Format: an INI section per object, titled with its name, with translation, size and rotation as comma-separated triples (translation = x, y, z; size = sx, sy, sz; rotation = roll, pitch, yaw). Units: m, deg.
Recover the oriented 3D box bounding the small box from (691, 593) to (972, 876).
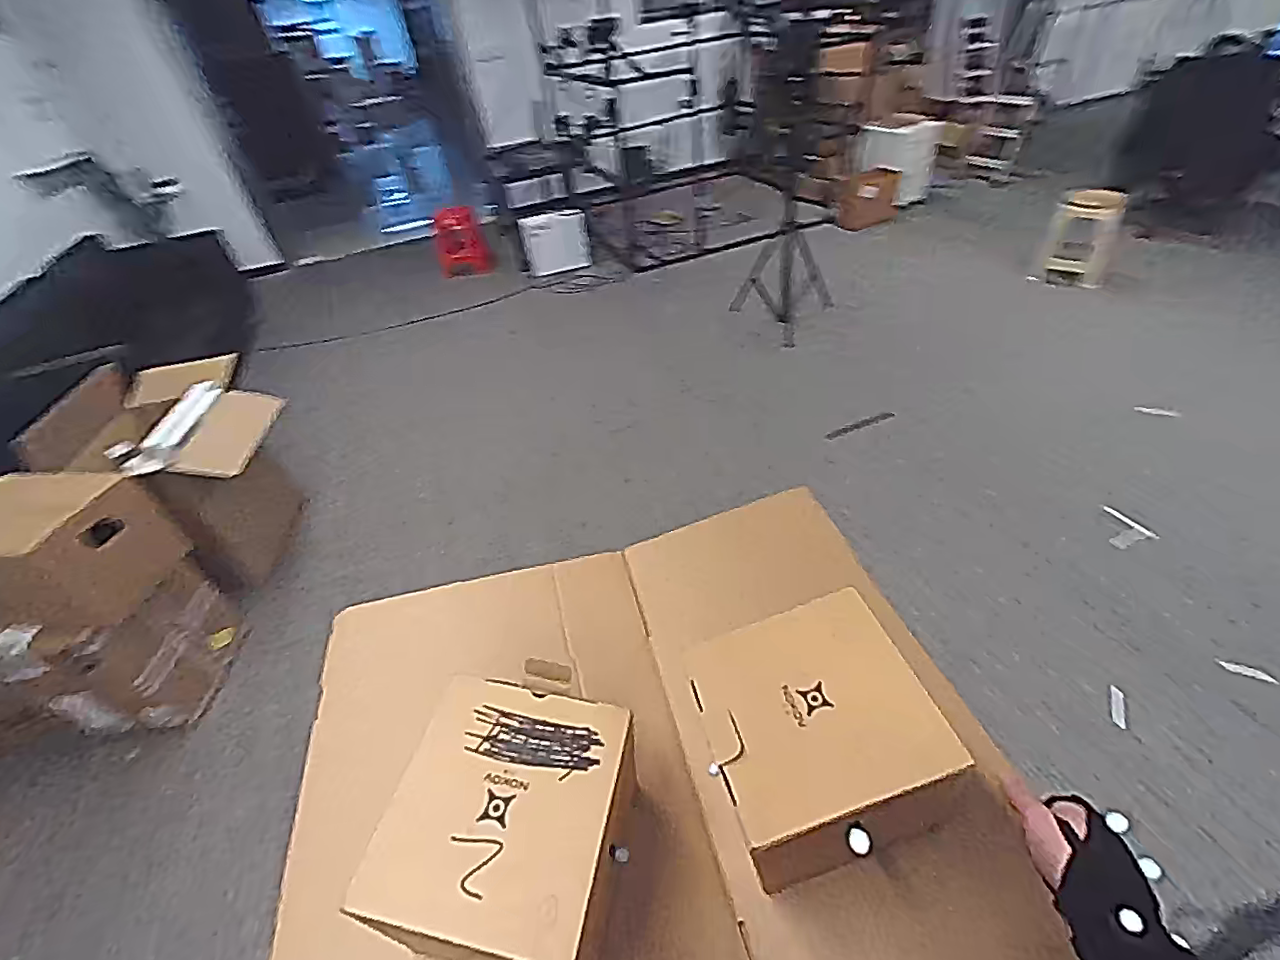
[small box]
translation = 0.165, 0.241, 0.511
size = 0.179, 0.176, 0.168
rotation = -20, 44, -1
